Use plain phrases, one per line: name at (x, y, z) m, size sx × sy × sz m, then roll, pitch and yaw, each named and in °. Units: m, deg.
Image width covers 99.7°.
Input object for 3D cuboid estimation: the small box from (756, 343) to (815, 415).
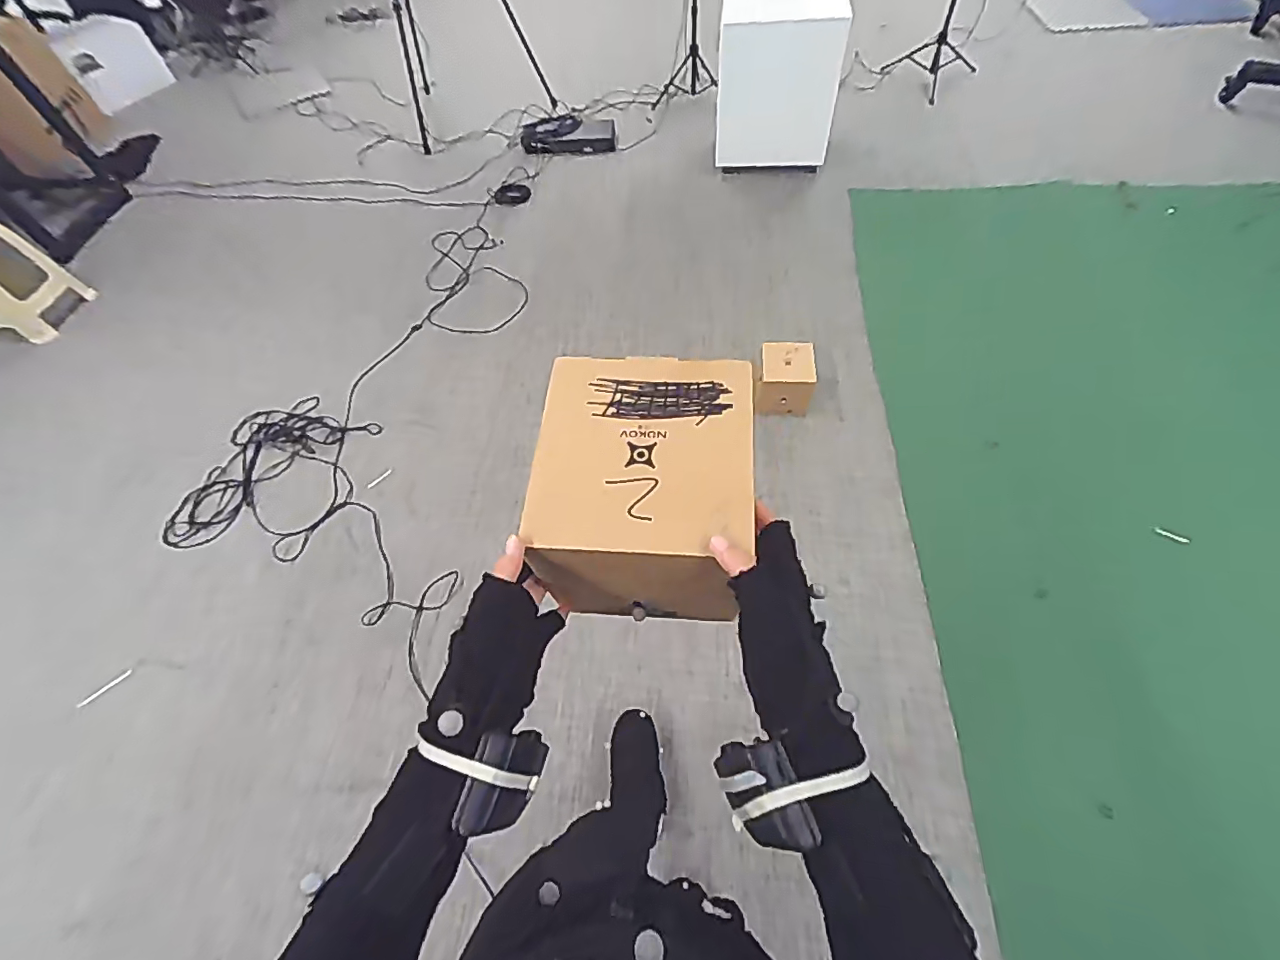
small box at (0.478, -0.332, 1.794) m, size 0.168 × 0.176 × 0.179 m, roll 2°, pitch 57°, yaw 6°
